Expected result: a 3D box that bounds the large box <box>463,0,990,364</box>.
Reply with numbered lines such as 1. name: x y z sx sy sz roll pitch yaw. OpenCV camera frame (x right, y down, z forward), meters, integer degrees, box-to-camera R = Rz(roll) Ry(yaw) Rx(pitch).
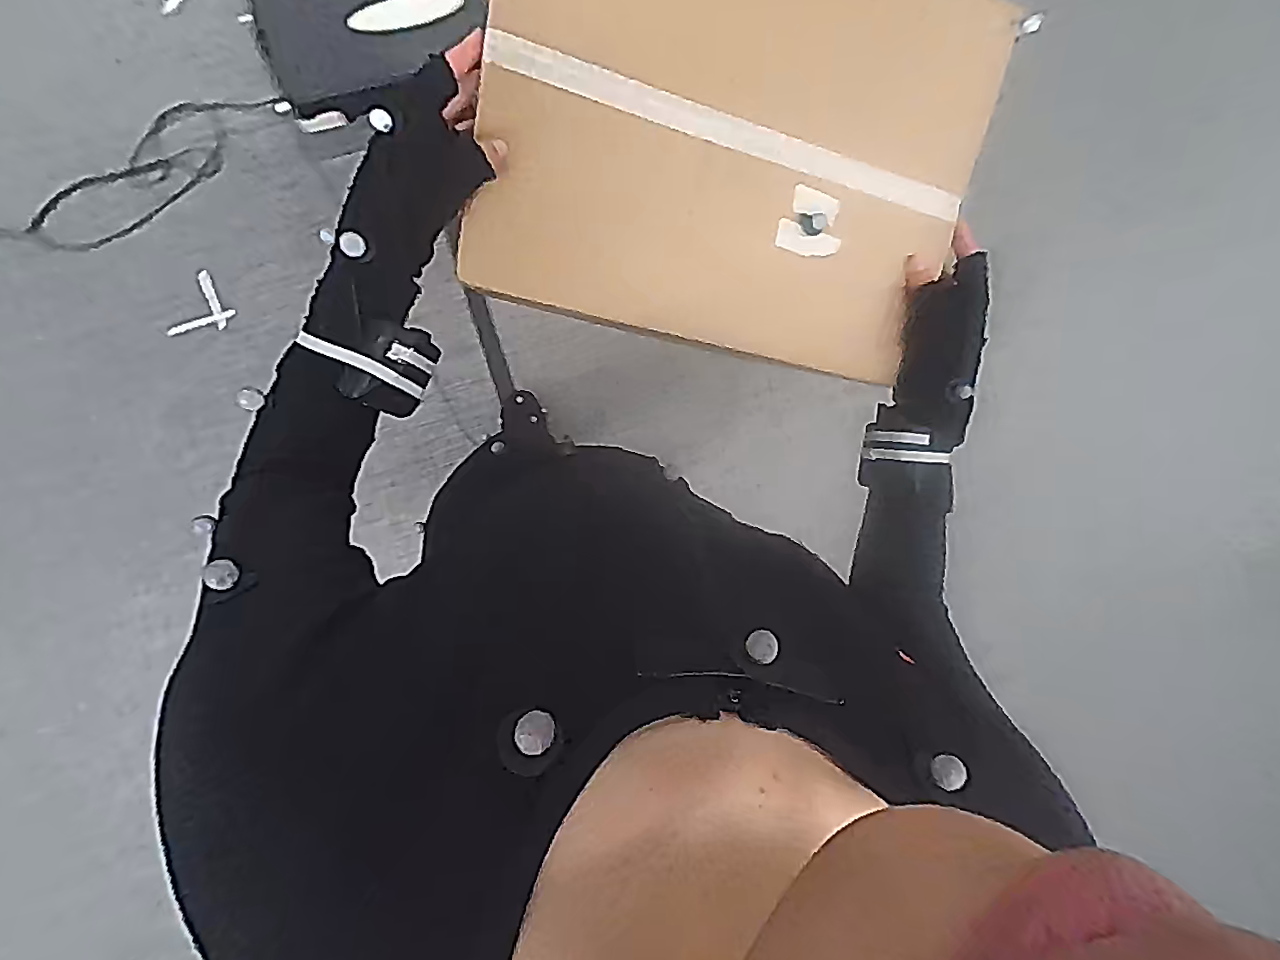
1. large box: 0.042 -0.319 0.571 0.408 0.320 0.320 7 105 -16
